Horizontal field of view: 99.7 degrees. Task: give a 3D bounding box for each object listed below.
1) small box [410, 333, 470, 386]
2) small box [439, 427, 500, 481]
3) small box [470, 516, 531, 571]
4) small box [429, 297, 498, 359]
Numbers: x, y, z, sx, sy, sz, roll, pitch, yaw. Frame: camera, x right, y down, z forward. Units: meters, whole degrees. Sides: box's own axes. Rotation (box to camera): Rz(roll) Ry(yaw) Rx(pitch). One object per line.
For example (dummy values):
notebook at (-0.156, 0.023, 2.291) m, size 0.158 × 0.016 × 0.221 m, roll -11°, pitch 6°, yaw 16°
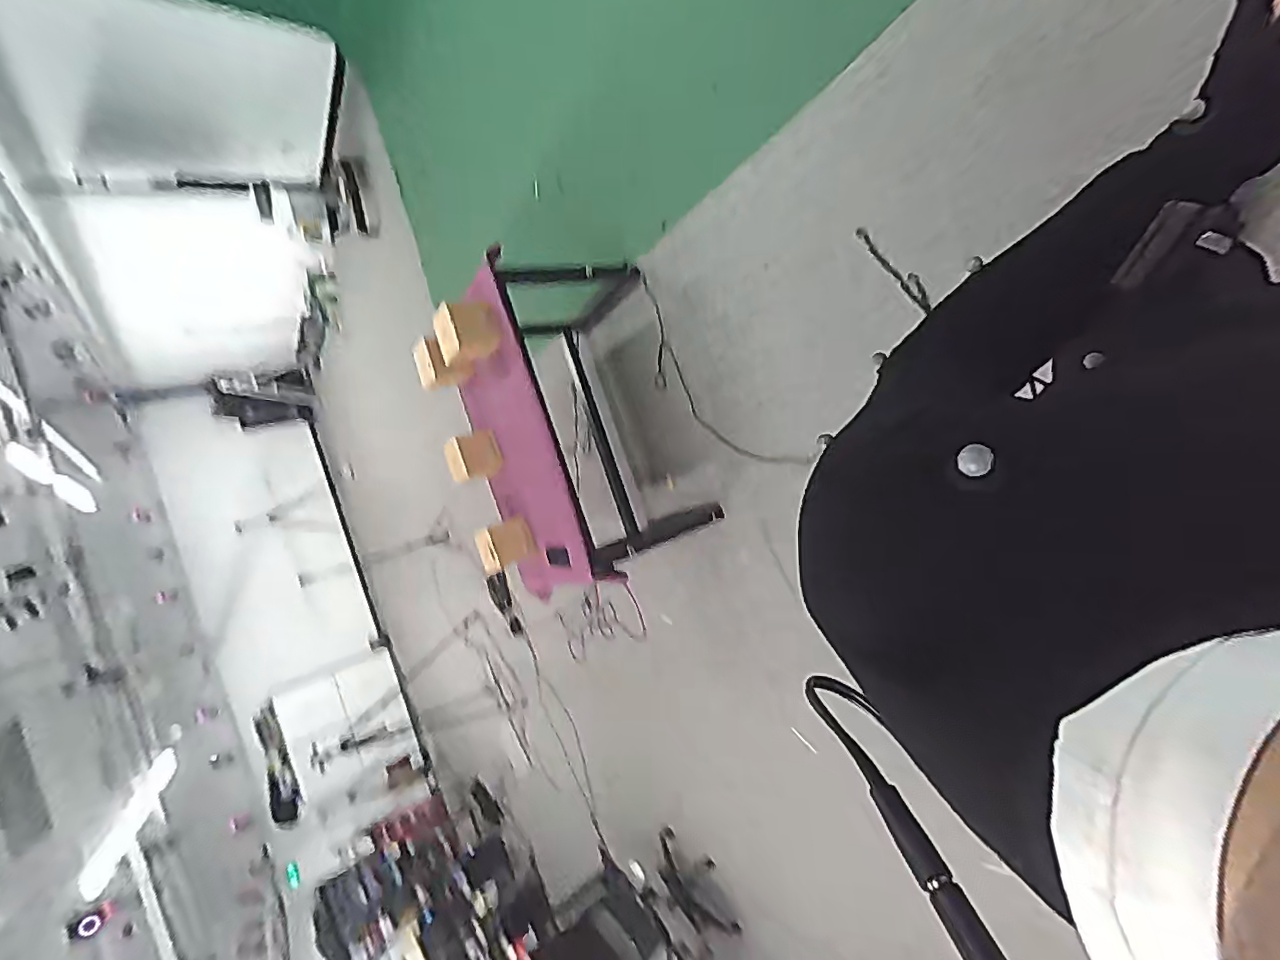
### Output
small box at (-0.822, -0.499, 2.225) m, size 0.179 × 0.176 × 0.168 m, roll -16°, pitch 92°, yaw 53°
small box at (-0.703, -0.106, 2.235) m, size 0.179 × 0.176 × 0.168 m, roll -21°, pitch 88°, yaw 52°
small box at (-0.564, 0.256, 2.202) m, size 0.179 × 0.176 × 0.168 m, roll -27°, pitch 82°, yaw 53°
small box at (-0.641, -0.554, 1.970) m, size 0.179 × 0.176 × 0.168 m, roll -16°, pitch 93°, yaw 53°
